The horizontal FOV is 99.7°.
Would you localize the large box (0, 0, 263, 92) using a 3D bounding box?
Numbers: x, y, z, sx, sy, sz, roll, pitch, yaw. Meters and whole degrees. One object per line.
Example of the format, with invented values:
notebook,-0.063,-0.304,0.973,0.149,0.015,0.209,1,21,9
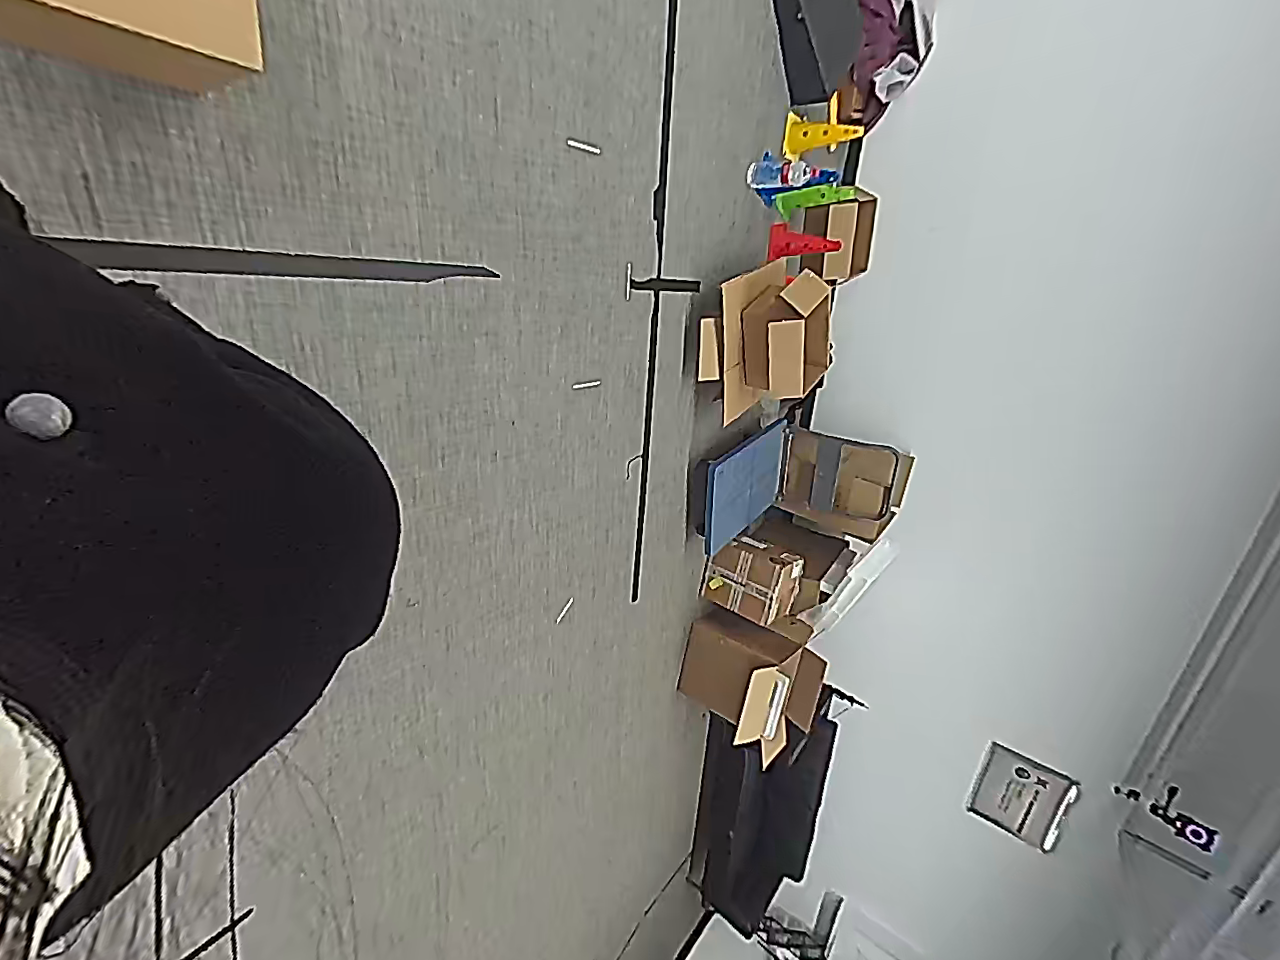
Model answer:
large box,-0.843,-0.810,0.766,0.408,0.320,0.320,-19,122,-50
